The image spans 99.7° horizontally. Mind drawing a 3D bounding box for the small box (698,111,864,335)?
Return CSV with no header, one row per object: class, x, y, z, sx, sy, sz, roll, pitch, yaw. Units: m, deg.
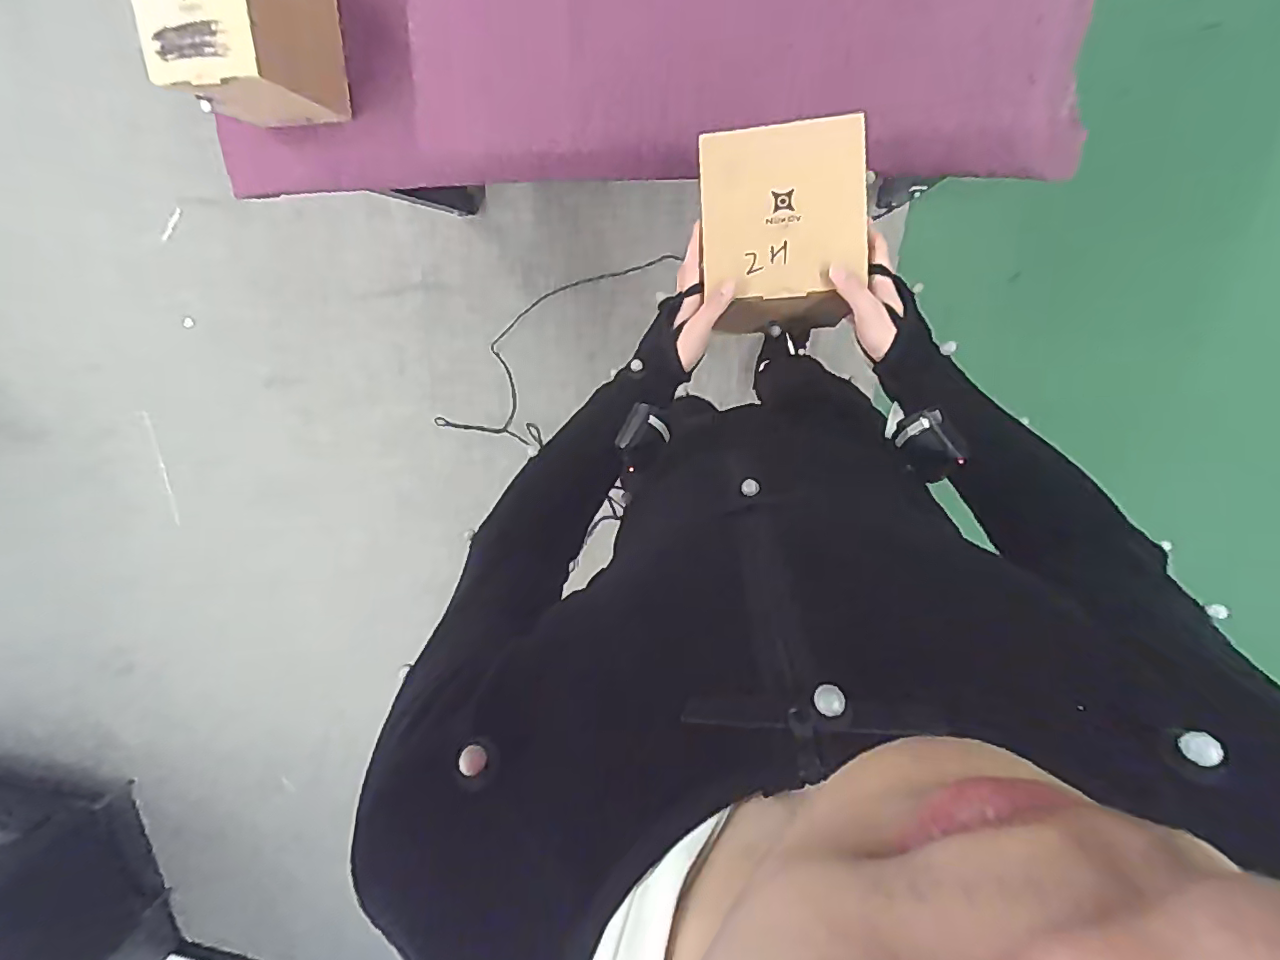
small box,0.155,-0.280,0.629,0.168,0.176,0.179,-2,92,11
